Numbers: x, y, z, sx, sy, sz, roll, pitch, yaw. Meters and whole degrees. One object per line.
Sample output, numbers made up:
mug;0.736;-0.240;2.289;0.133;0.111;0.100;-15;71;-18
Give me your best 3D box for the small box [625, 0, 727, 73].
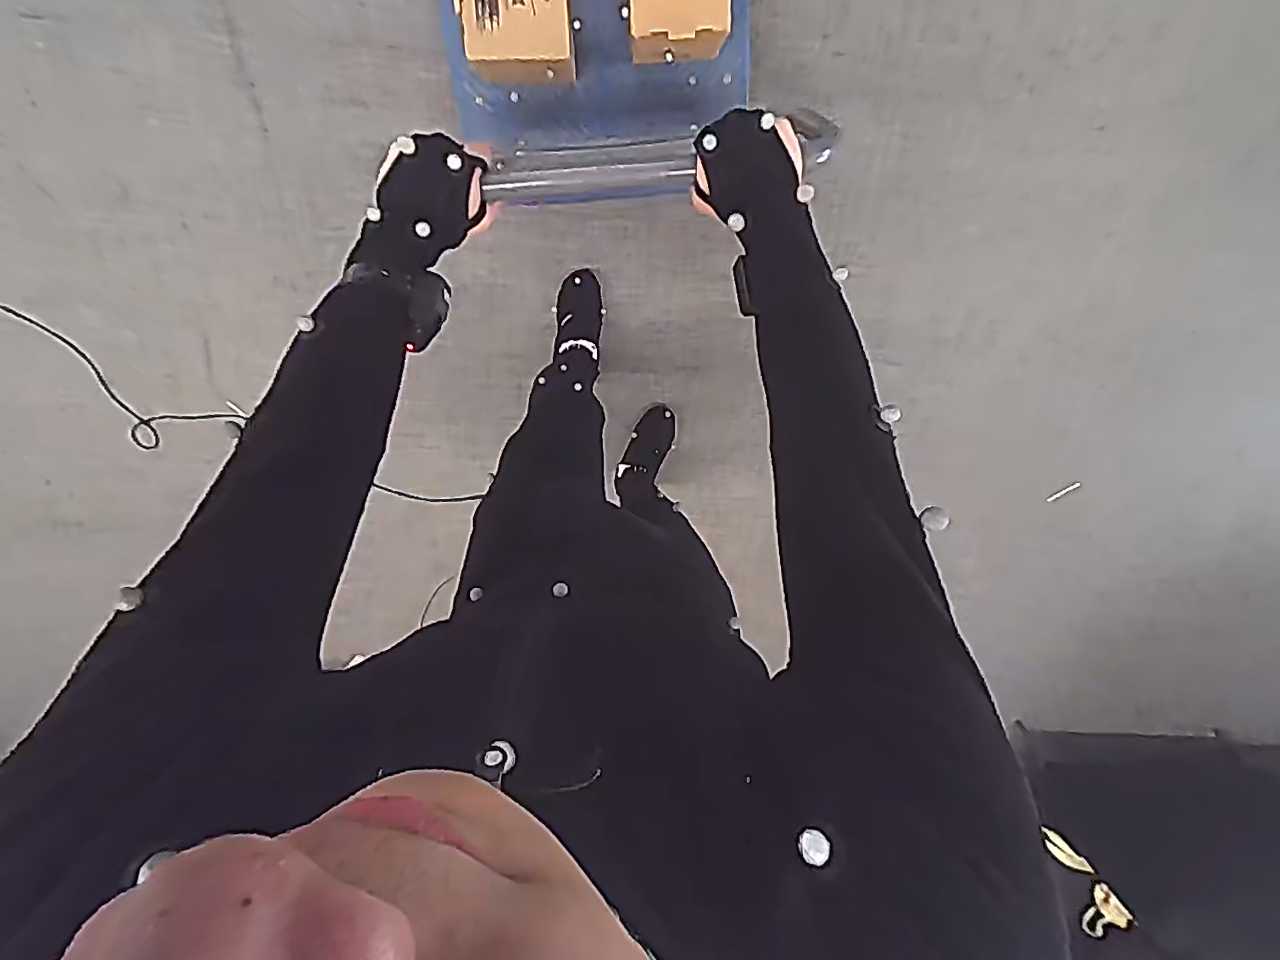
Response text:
small box;0.059;-0.852;0.956;0.168;0.176;0.179;-4;115;0
